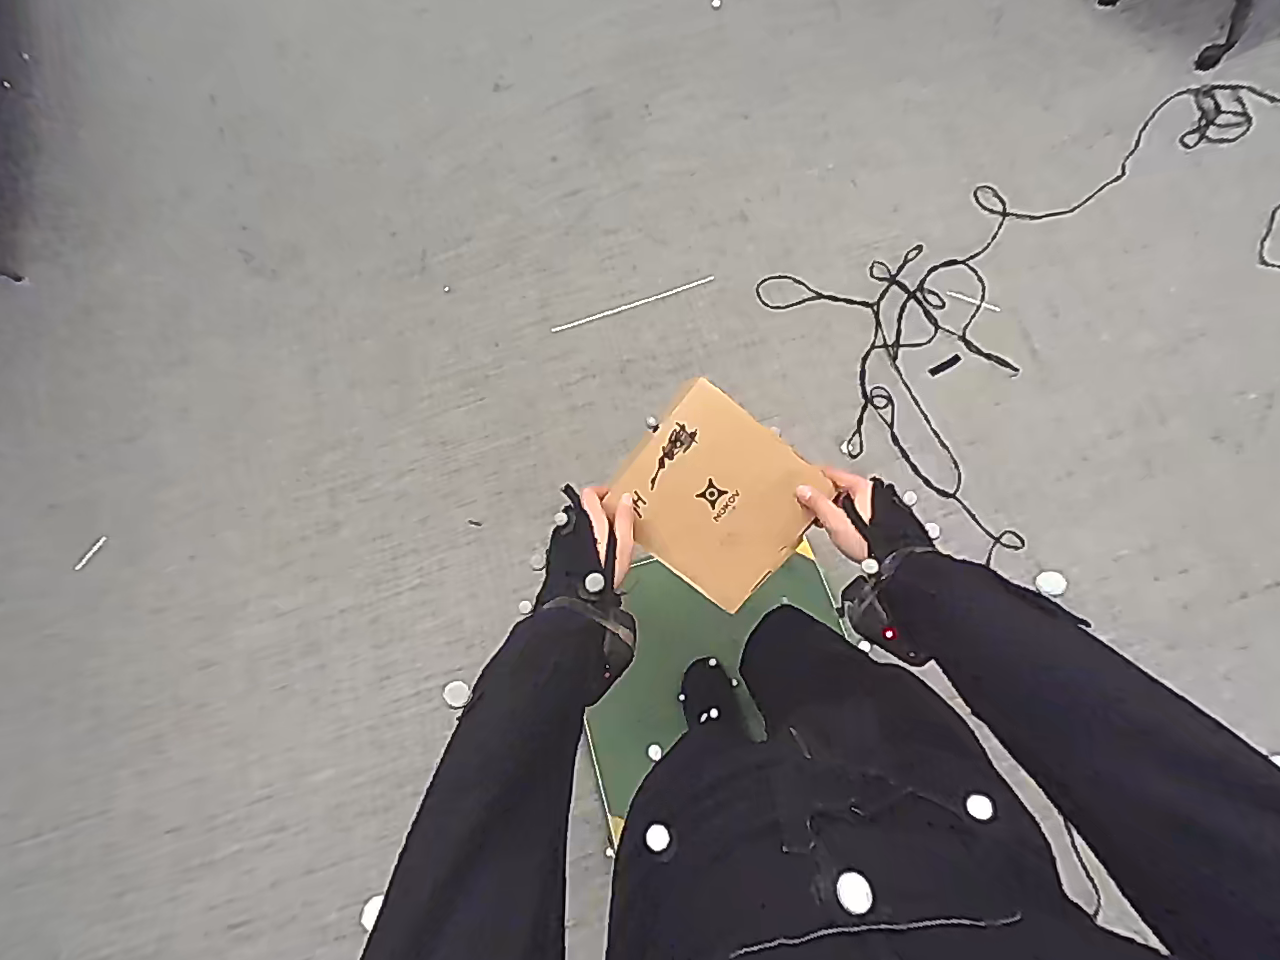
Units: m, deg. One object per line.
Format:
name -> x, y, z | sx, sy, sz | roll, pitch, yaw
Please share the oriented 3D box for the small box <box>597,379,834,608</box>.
small box -> 0.074, 0.004, 0.606 | 0.179, 0.176, 0.168 | 38, 97, -5
